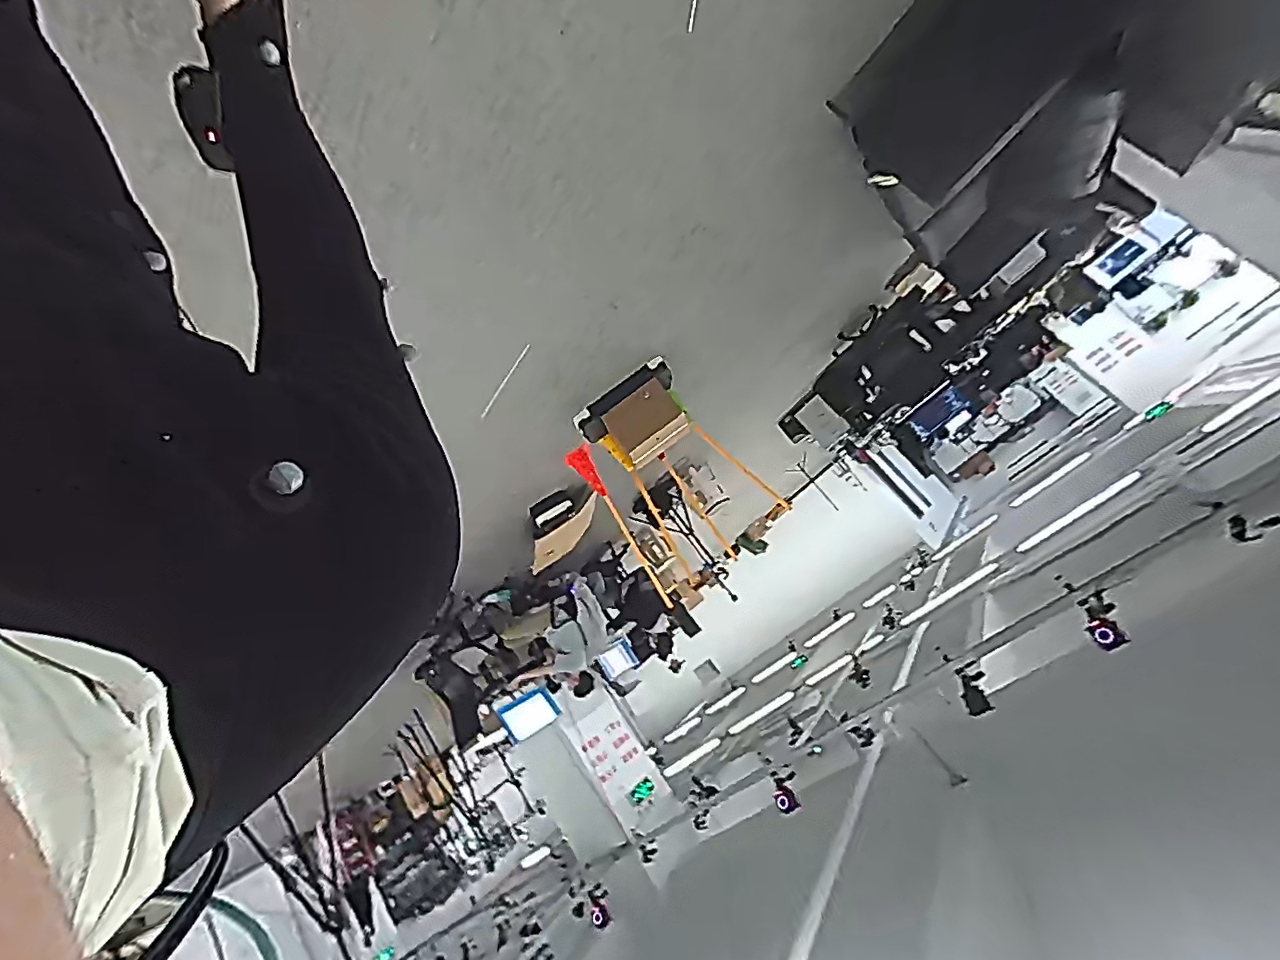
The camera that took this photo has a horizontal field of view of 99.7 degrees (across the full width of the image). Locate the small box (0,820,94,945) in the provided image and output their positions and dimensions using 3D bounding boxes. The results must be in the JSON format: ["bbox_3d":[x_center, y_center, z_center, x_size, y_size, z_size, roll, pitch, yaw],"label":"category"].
[{"bbox_3d":[-1.454,0.958,1.289,0.168,0.176,0.179,-49,159,29],"label":"small box"}]
